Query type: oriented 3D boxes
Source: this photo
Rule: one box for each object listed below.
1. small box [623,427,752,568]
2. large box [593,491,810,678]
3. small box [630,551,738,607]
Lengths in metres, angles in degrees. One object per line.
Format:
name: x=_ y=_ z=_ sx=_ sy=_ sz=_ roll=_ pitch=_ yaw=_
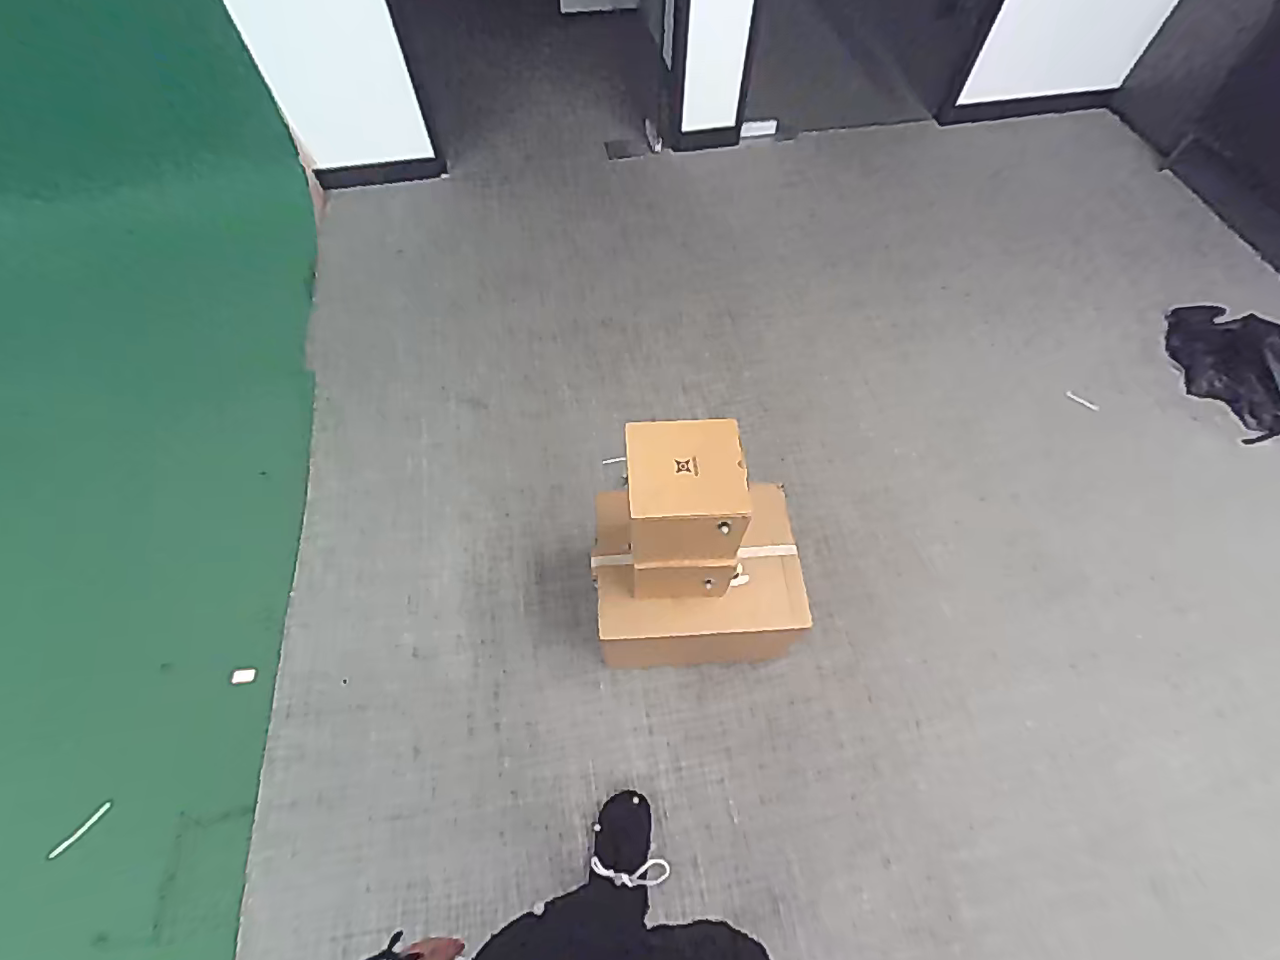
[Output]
small box: x=0.065 y=0.033 z=0.856 sx=0.179 sy=0.176 sz=0.168 roll=-2 pitch=59 yaw=-3
large box: x=0.106 y=0.240 z=1.204 sx=0.408 sy=0.320 sz=0.320 roll=-2 pitch=61 yaw=-4
small box: x=0.070 y=0.127 z=0.989 sx=0.179 sy=0.176 sz=0.168 roll=-3 pitch=59 yaw=-2
